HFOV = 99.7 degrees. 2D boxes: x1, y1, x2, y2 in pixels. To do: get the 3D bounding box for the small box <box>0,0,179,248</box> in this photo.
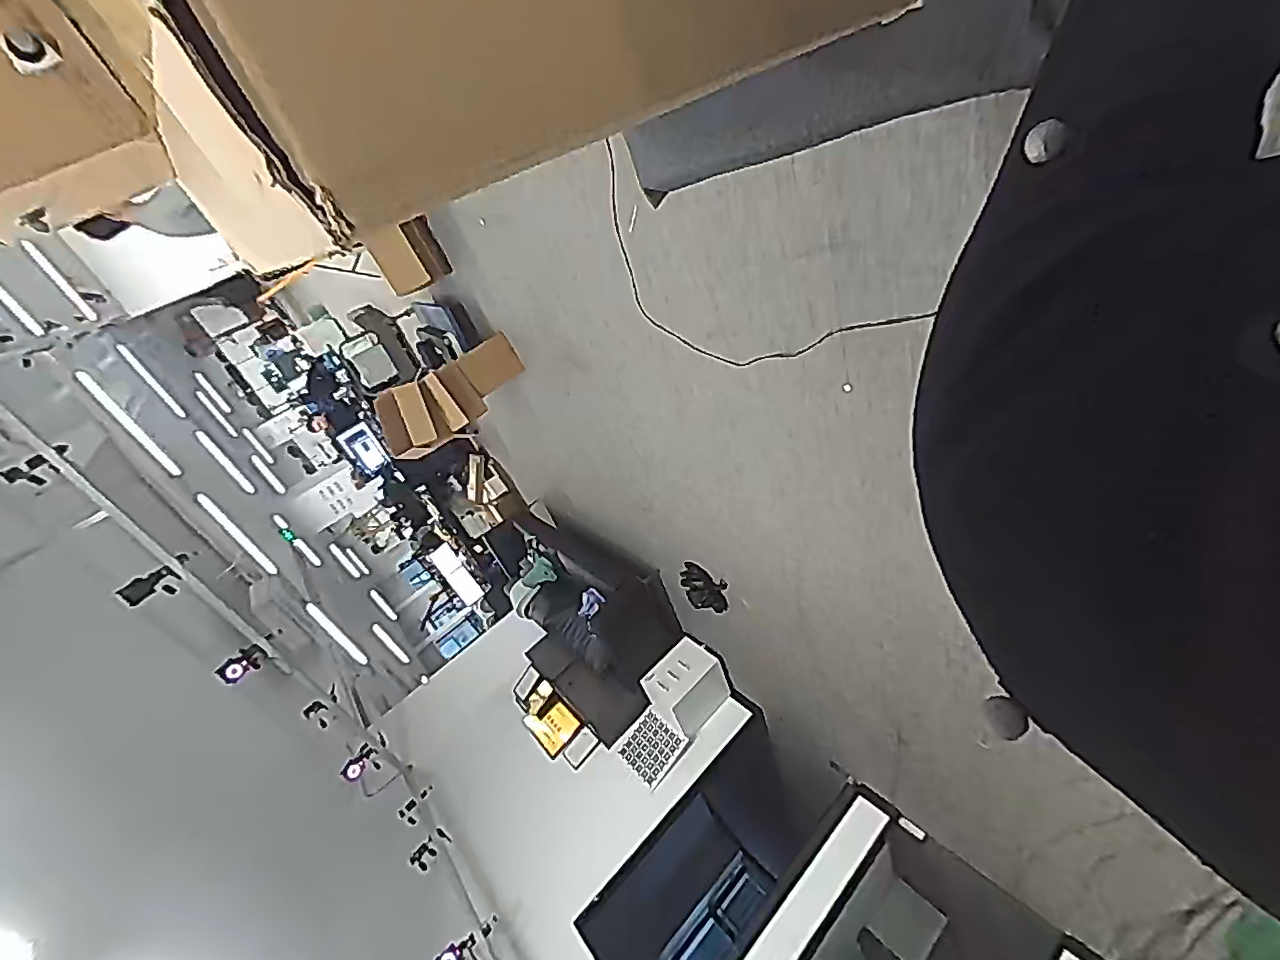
[{"bbox_3d":[-0.527,-0.318,0.444,0.179,0.176,0.168,17,143,52],"label":"small box"}]
